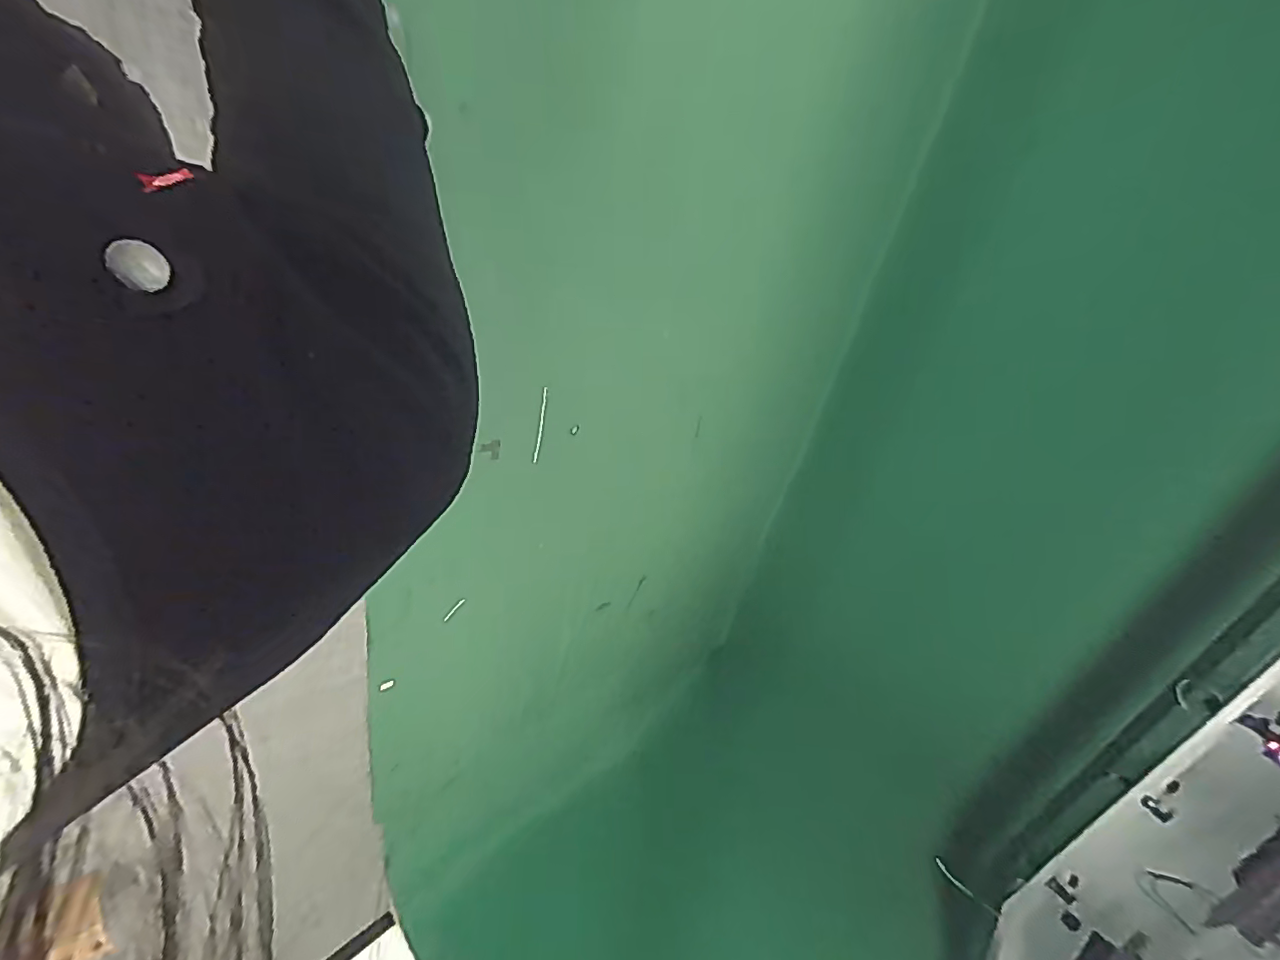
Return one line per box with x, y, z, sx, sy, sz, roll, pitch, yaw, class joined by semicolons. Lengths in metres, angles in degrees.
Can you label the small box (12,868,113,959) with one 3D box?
-1.634;1.265;1.530;0.179;0.176;0.168;-14;129;-47;small box
